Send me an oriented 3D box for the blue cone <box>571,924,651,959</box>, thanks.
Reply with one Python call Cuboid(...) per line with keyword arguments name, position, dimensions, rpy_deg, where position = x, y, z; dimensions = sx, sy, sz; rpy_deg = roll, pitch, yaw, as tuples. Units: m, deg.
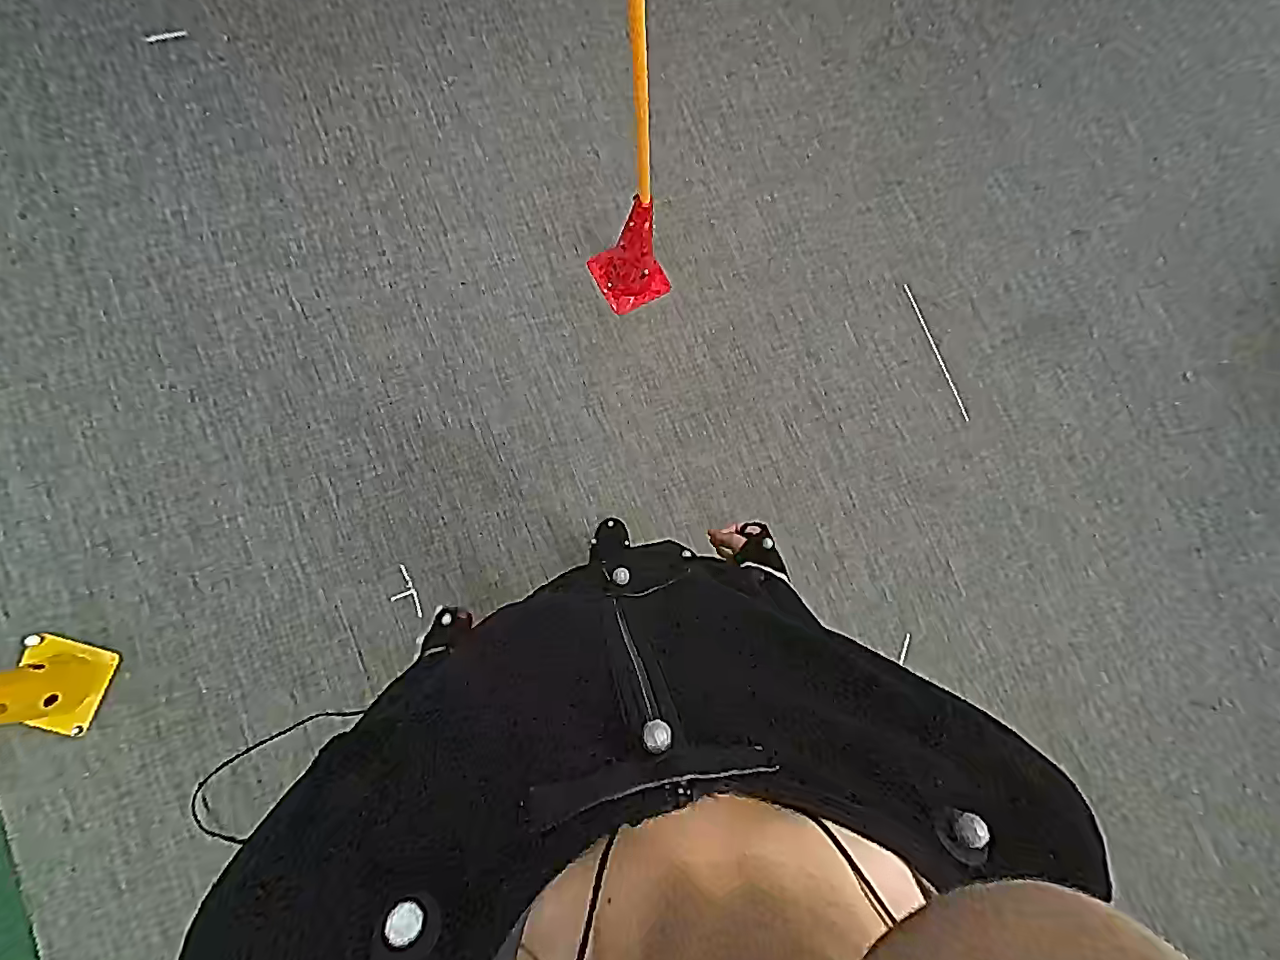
Cuboid(name="blue cone", position=(-0.053, 1.192, 1.176), dimensions=(0.193, 0.380, 0.192), rpy_deg=(28, 78, -6))
